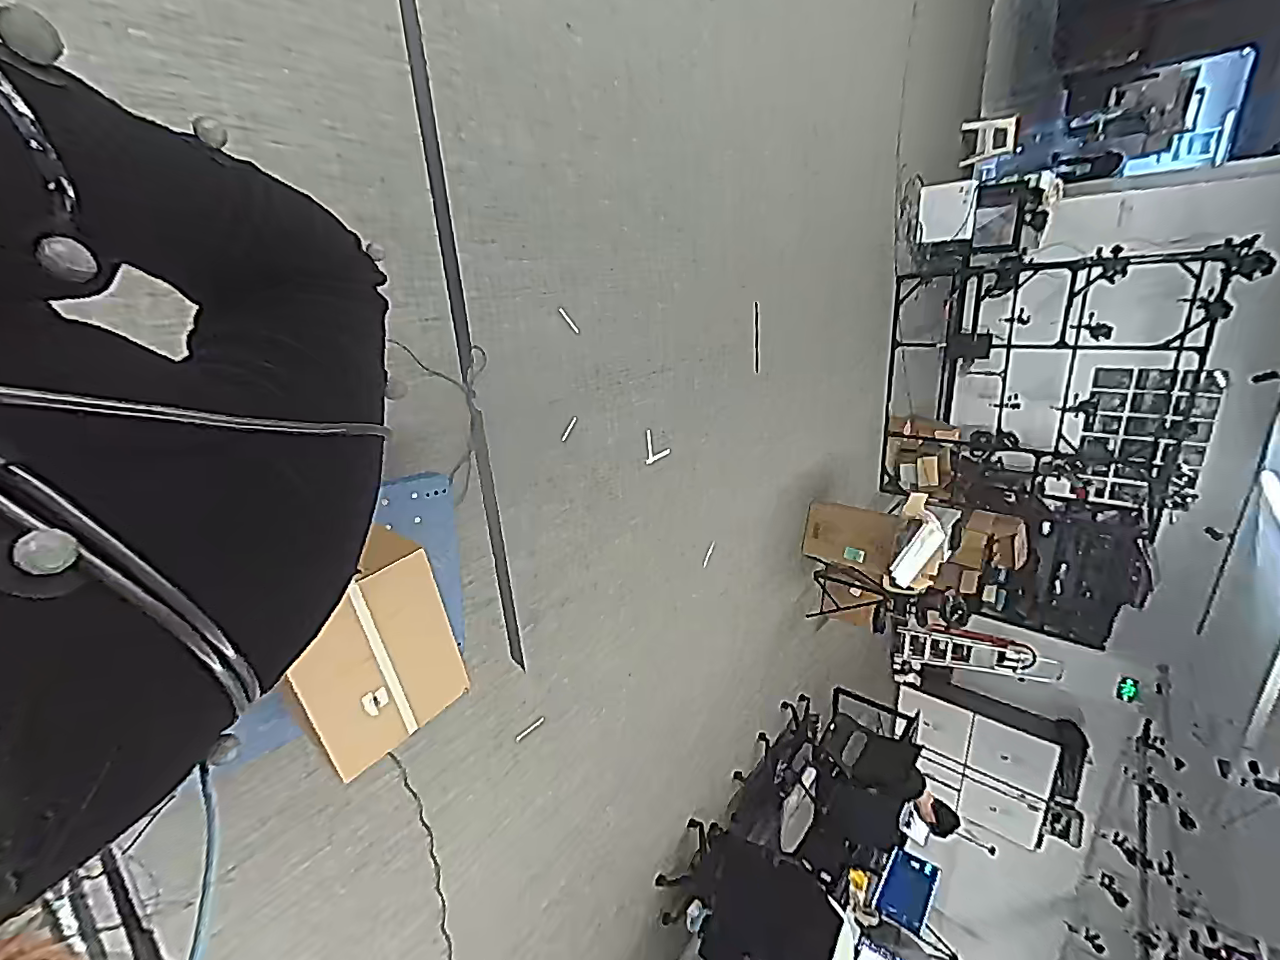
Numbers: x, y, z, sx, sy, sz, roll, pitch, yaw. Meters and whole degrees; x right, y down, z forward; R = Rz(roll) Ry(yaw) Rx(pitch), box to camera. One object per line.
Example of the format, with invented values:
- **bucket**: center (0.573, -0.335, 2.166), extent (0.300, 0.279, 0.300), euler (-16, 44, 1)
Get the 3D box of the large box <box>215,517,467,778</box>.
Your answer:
- **large box**: center (-0.654, 0.348, 1.213), extent (0.320, 0.320, 0.408), euler (-31, 123, -41)
